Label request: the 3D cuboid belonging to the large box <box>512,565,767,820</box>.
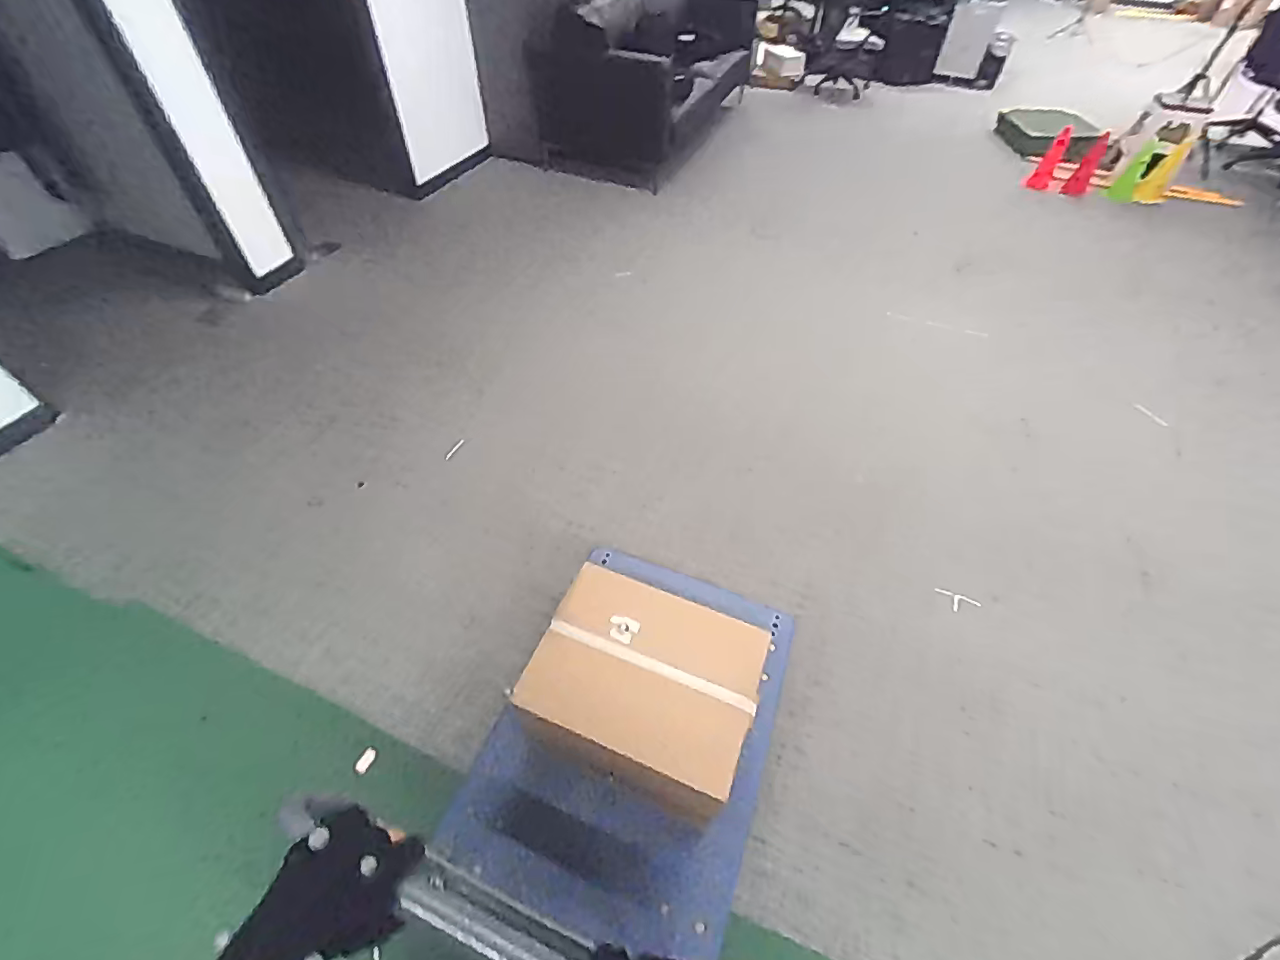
[{"bbox_3d":[0.011,0.437,1.117,0.408,0.320,0.320,18,51,14],"label":"large box"}]
